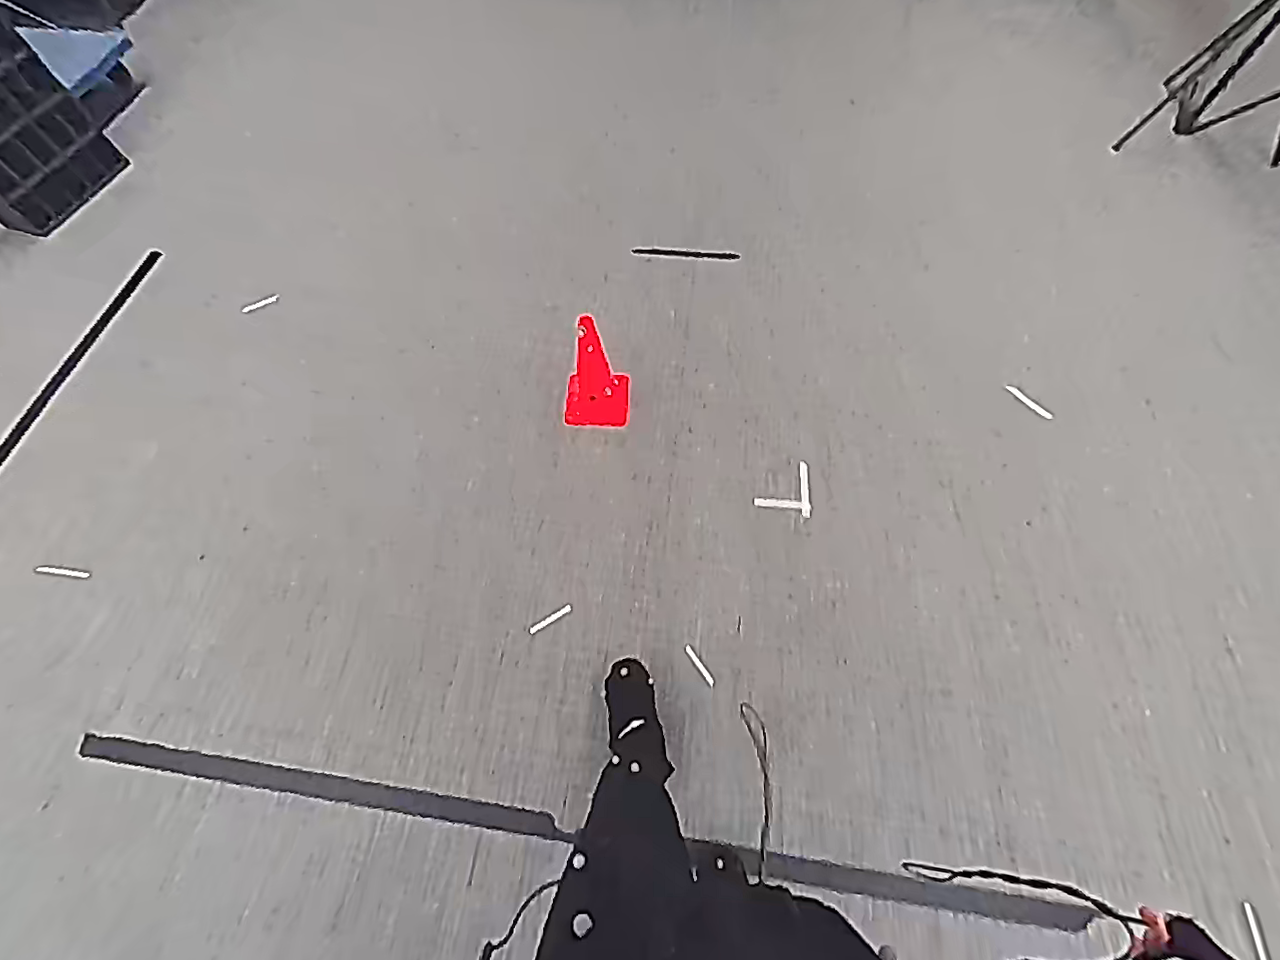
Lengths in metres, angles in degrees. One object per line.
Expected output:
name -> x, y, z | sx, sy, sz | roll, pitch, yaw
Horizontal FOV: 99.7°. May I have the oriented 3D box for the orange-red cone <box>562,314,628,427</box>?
orange-red cone -> -0.149, -0.330, 1.547 | 0.199, 0.360, 0.198 | 1, 62, 4
